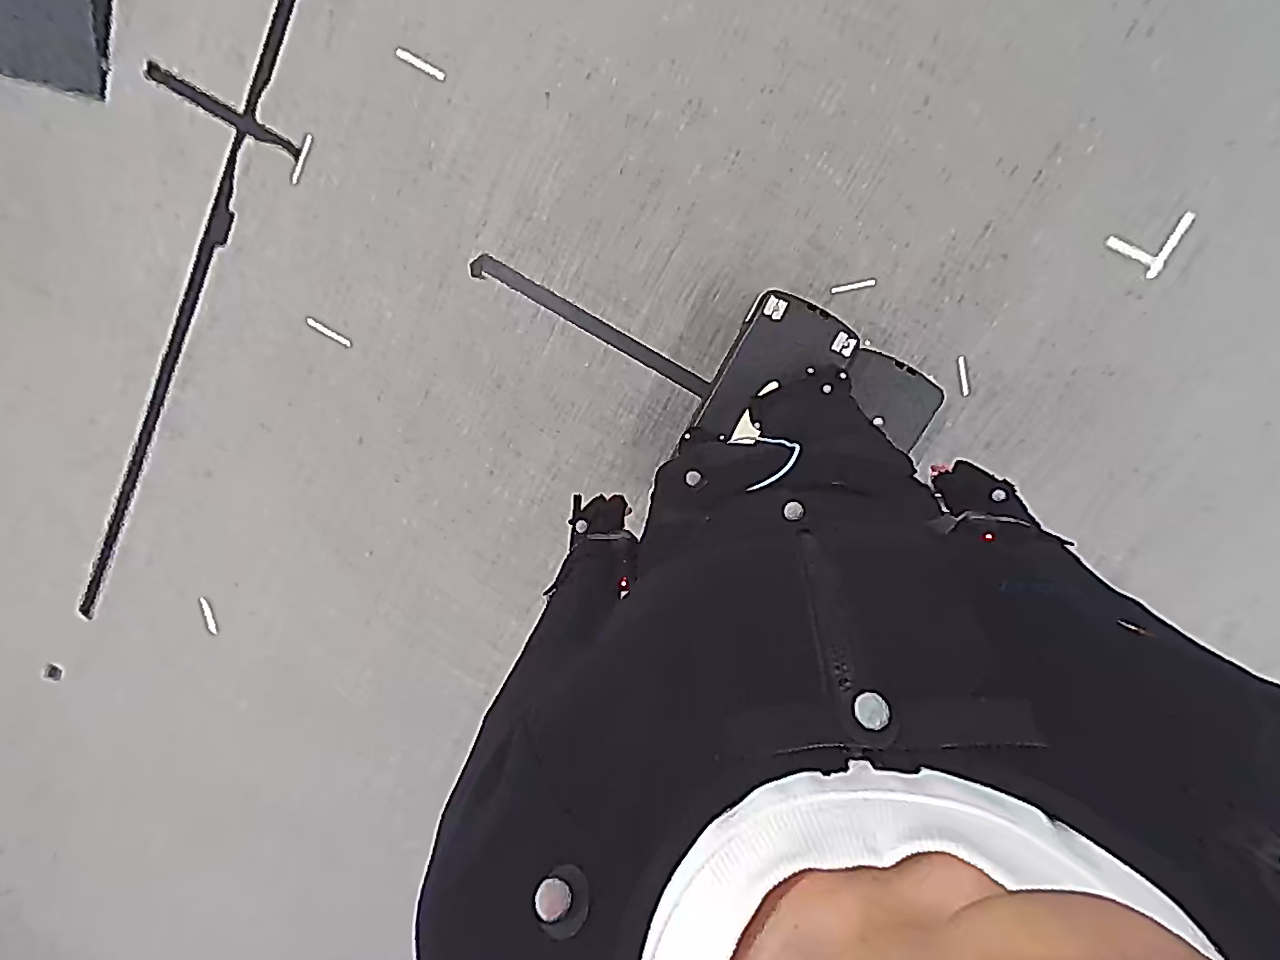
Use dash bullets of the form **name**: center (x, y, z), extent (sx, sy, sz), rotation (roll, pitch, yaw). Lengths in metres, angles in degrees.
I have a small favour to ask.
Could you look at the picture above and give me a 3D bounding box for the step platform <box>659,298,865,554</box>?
- **step platform**: center (0.319, -0.141, 1.494), extent (0.286, 0.204, 0.684), rotation (28, 100, 0)
